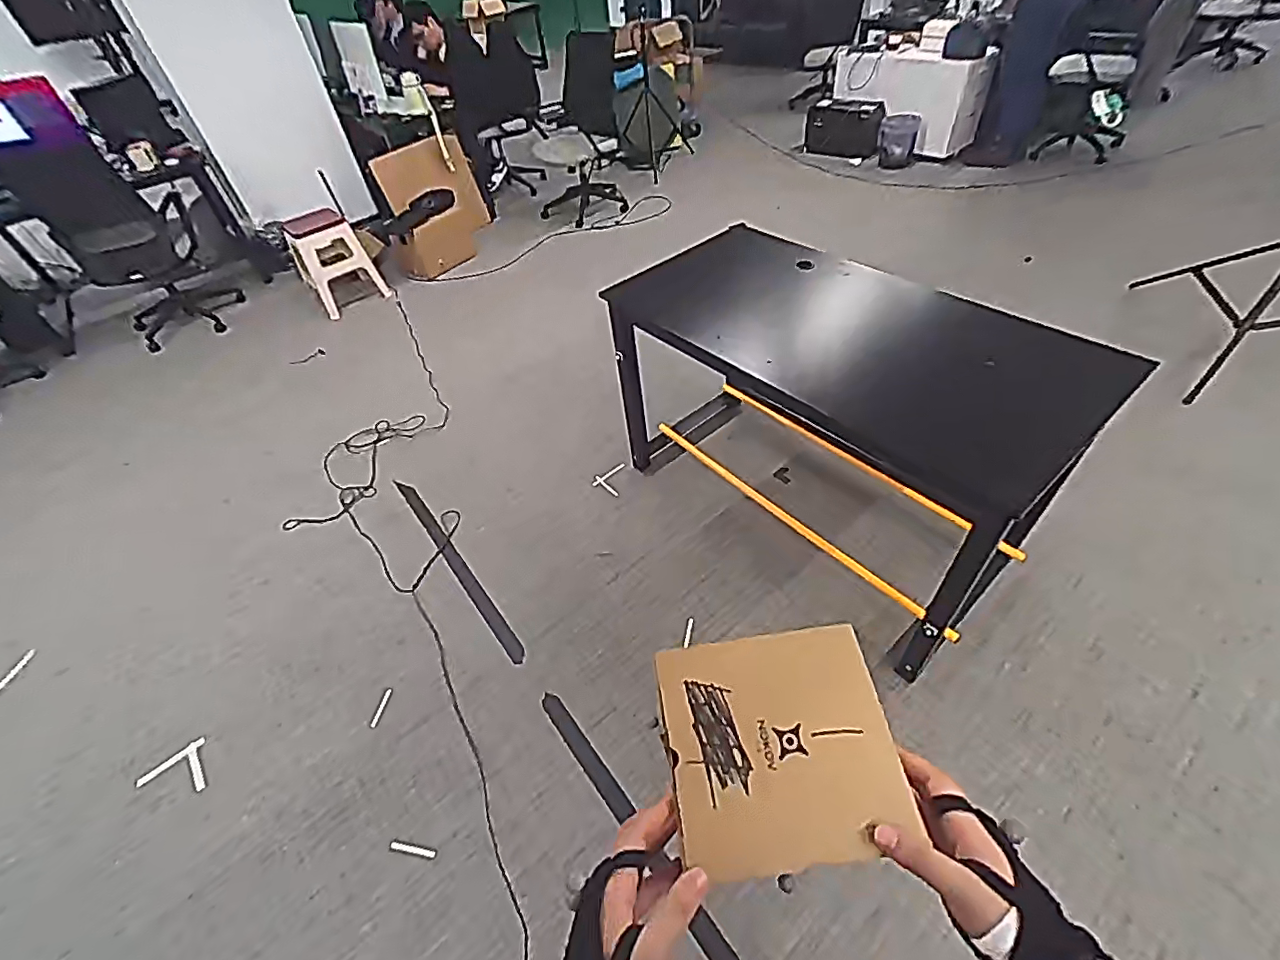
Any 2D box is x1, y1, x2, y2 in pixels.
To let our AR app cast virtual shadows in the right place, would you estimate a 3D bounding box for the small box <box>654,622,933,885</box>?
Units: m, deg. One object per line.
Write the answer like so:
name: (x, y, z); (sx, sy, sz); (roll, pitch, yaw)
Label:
small box: (0.111, 0.243, 0.479); (0.179, 0.176, 0.168); (-8, 57, -3)
